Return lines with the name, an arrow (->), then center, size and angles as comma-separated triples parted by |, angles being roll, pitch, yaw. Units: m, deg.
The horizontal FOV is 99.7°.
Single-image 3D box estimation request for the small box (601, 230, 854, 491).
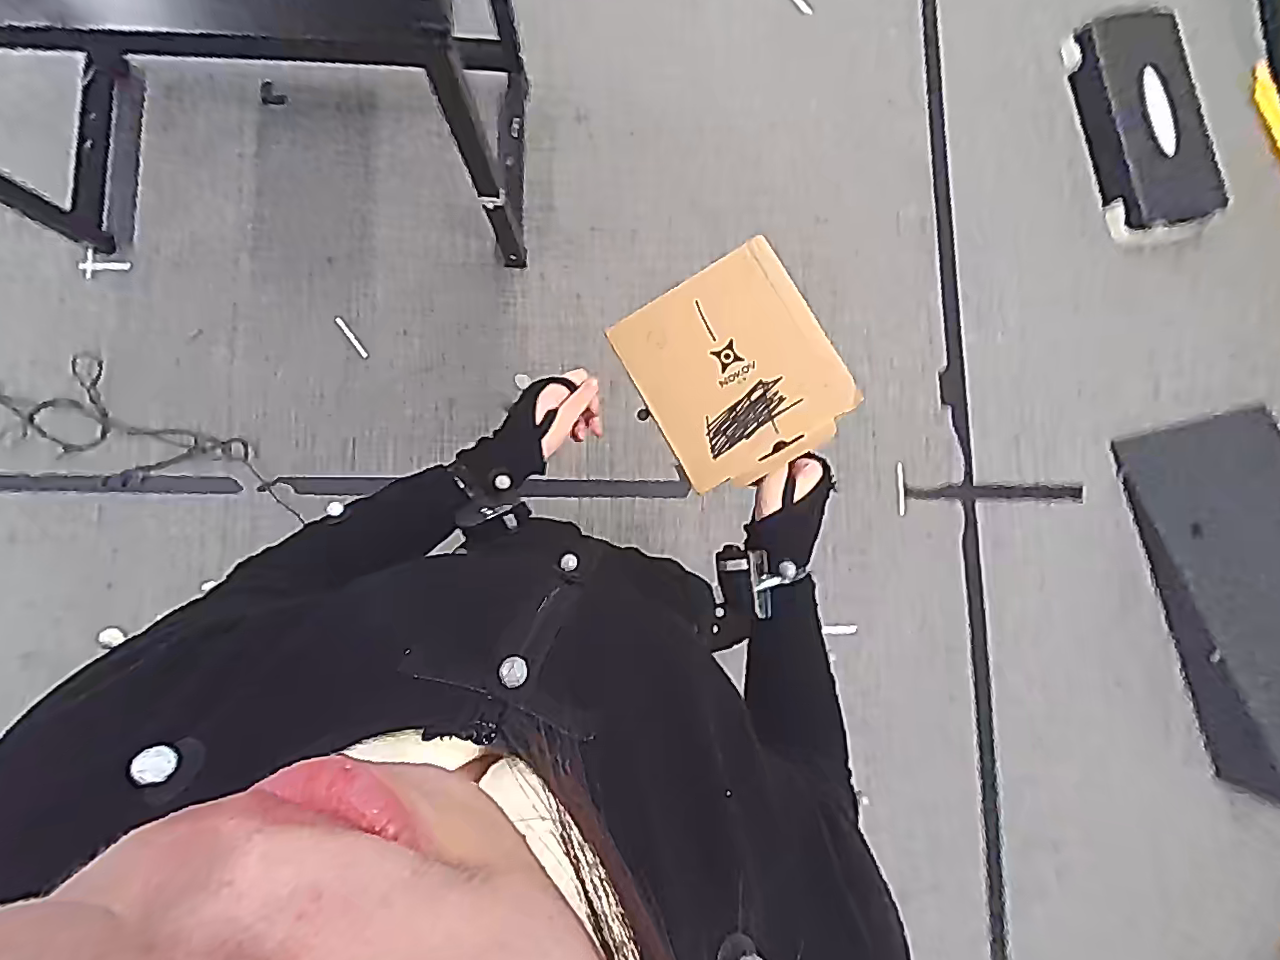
small box -> 0.083, -0.110, 0.555 | 0.168, 0.176, 0.179 | -31, 92, 6
